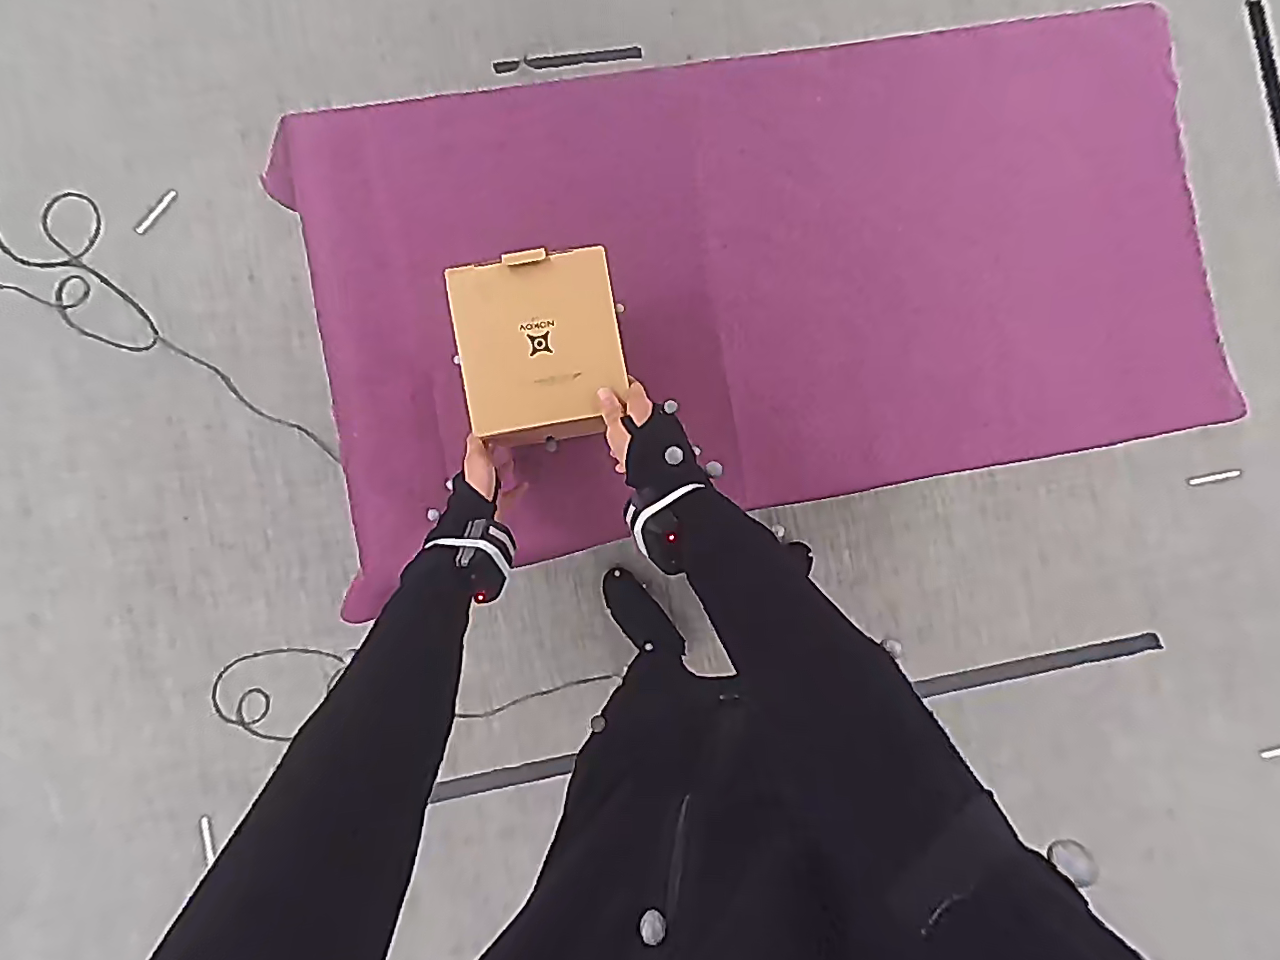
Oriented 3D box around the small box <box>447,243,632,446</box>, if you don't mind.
[{"bbox_3d":[-0.105,-0.142,0.620,0.168,0.176,0.179,-9,90,-3],"label":"small box"}]
